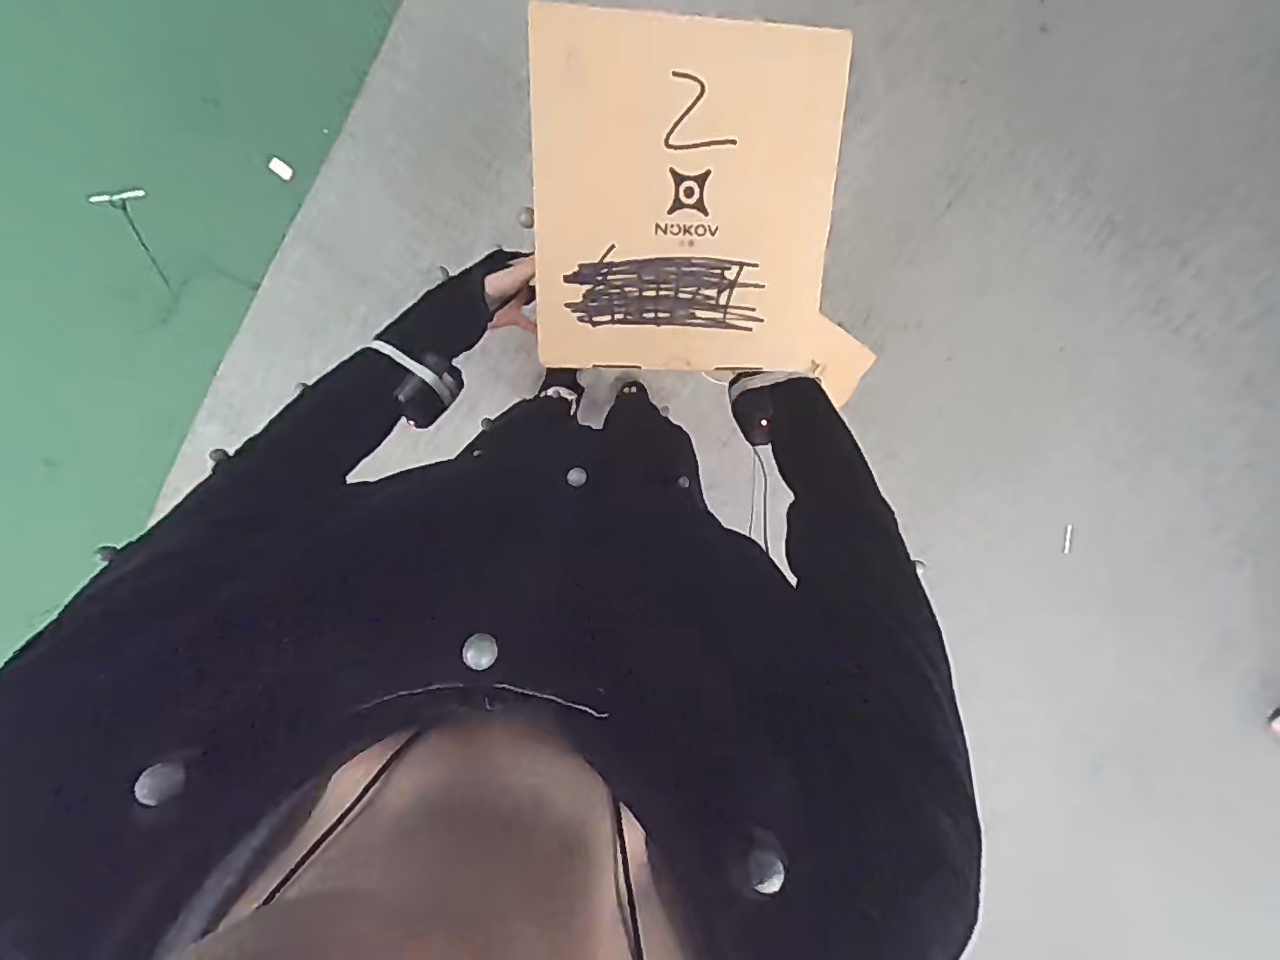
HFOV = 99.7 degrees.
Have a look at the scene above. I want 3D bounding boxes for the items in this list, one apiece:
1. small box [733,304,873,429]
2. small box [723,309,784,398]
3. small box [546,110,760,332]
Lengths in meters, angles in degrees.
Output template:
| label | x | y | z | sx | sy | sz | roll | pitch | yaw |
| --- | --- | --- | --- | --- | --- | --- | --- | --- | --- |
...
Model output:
| label | x | y | z | sx | sy | sz | roll | pitch | yaw |
| --- | --- | --- | --- | --- | --- | --- | --- | --- | --- |
| small box | 0.309 | -0.223 | 1.069 | 0.179 | 0.176 | 0.168 | 32 | 100 | -12 |
| small box | 0.314 | -0.267 | 1.227 | 0.179 | 0.176 | 0.168 | 30 | 100 | -10 |
| small box | 0.001 | -0.237 | 0.529 | 0.179 | 0.176 | 0.168 | -1 | 108 | -6 |
